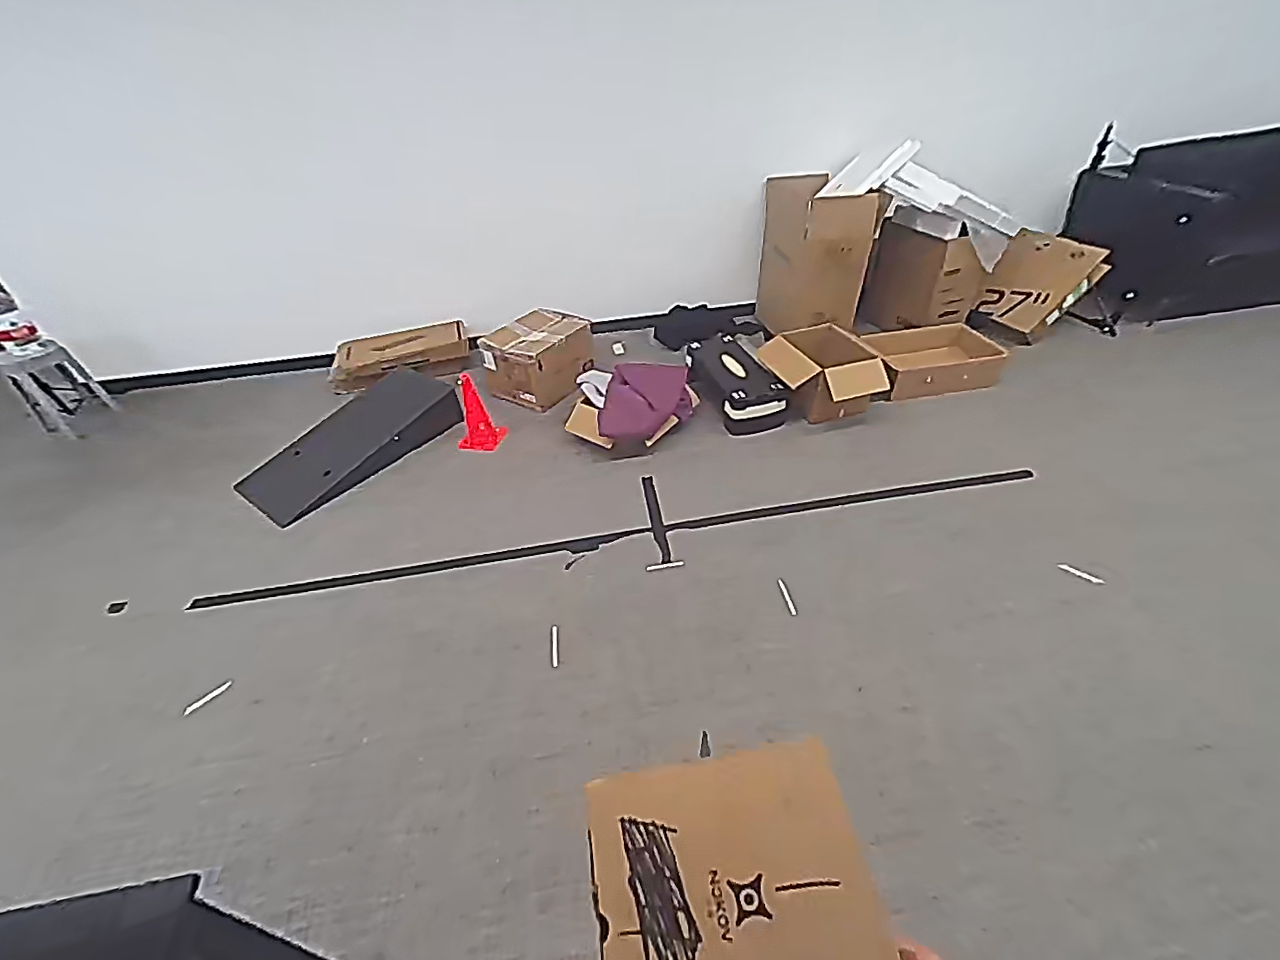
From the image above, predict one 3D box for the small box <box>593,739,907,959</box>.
[{"bbox_3d":[0.068,0.313,0.395,0.179,0.176,0.168,-8,49,-4],"label":"small box"}]
